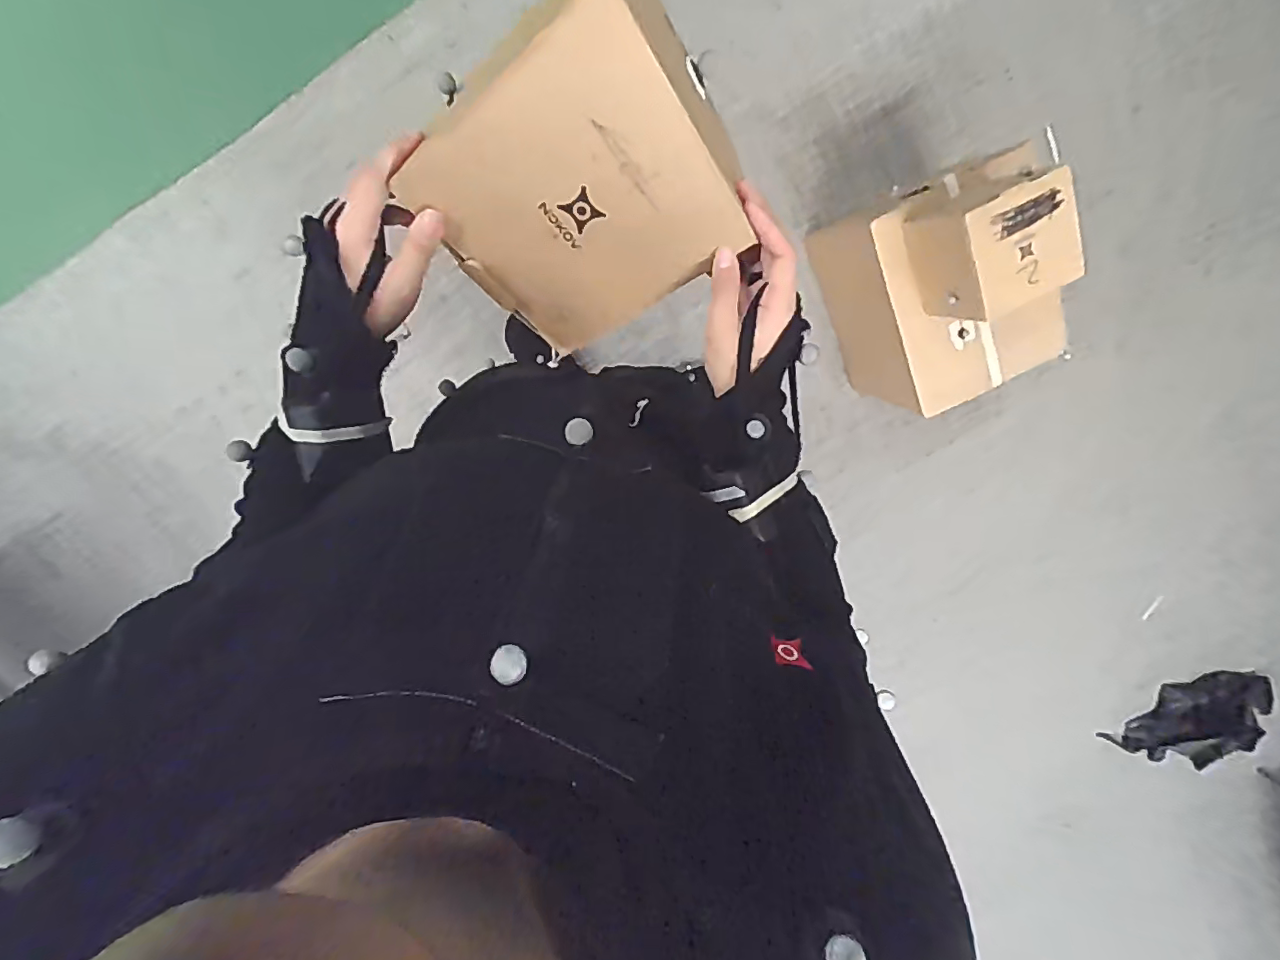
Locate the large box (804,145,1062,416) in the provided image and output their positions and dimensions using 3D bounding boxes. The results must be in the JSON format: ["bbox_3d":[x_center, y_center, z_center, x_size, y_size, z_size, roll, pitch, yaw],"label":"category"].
[{"bbox_3d":[0.607,-0.410,1.158,0.320,0.320,0.408,-26,111,5],"label":"large box"}]
